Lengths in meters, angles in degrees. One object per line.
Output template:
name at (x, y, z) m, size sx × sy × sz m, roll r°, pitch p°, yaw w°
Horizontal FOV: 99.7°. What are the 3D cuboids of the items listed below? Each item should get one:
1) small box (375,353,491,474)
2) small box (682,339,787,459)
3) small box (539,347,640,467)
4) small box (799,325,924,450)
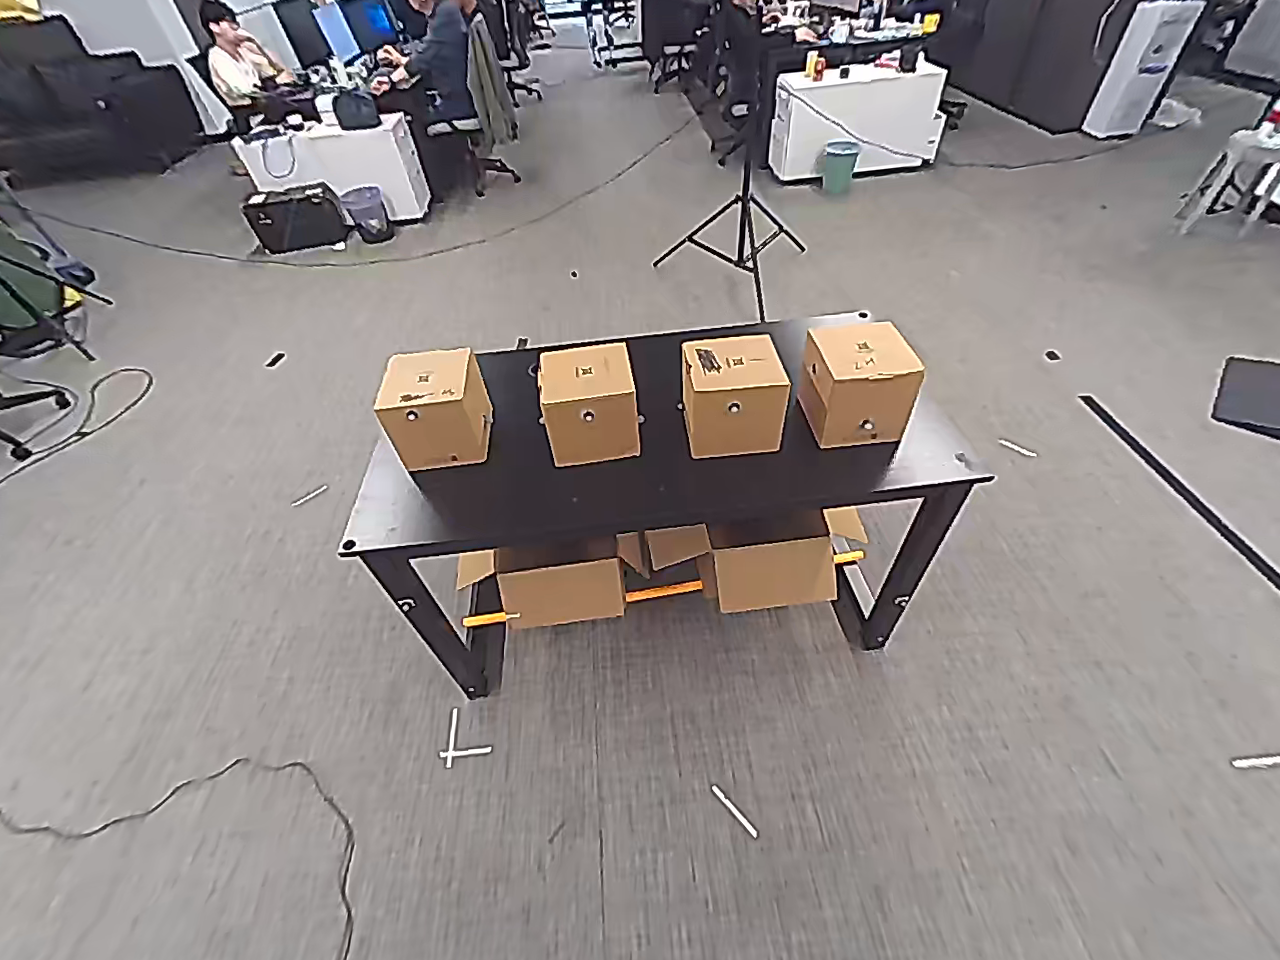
small box at (-0.410, -0.136, 1.108) m, size 0.168 × 0.176 × 0.179 m, roll -7°, pitch 46°, yaw -2°
small box at (0.179, -0.157, 1.071) m, size 0.179 × 0.176 × 0.168 m, roll -5°, pitch 46°, yaw 1°
small box at (-0.100, -0.142, 1.088) m, size 0.179 × 0.176 × 0.168 m, roll -8°, pitch 47°, yaw -3°
small box at (0.423, -0.182, 1.071) m, size 0.168 × 0.176 × 0.179 m, roll -6°, pitch 46°, yaw 1°
